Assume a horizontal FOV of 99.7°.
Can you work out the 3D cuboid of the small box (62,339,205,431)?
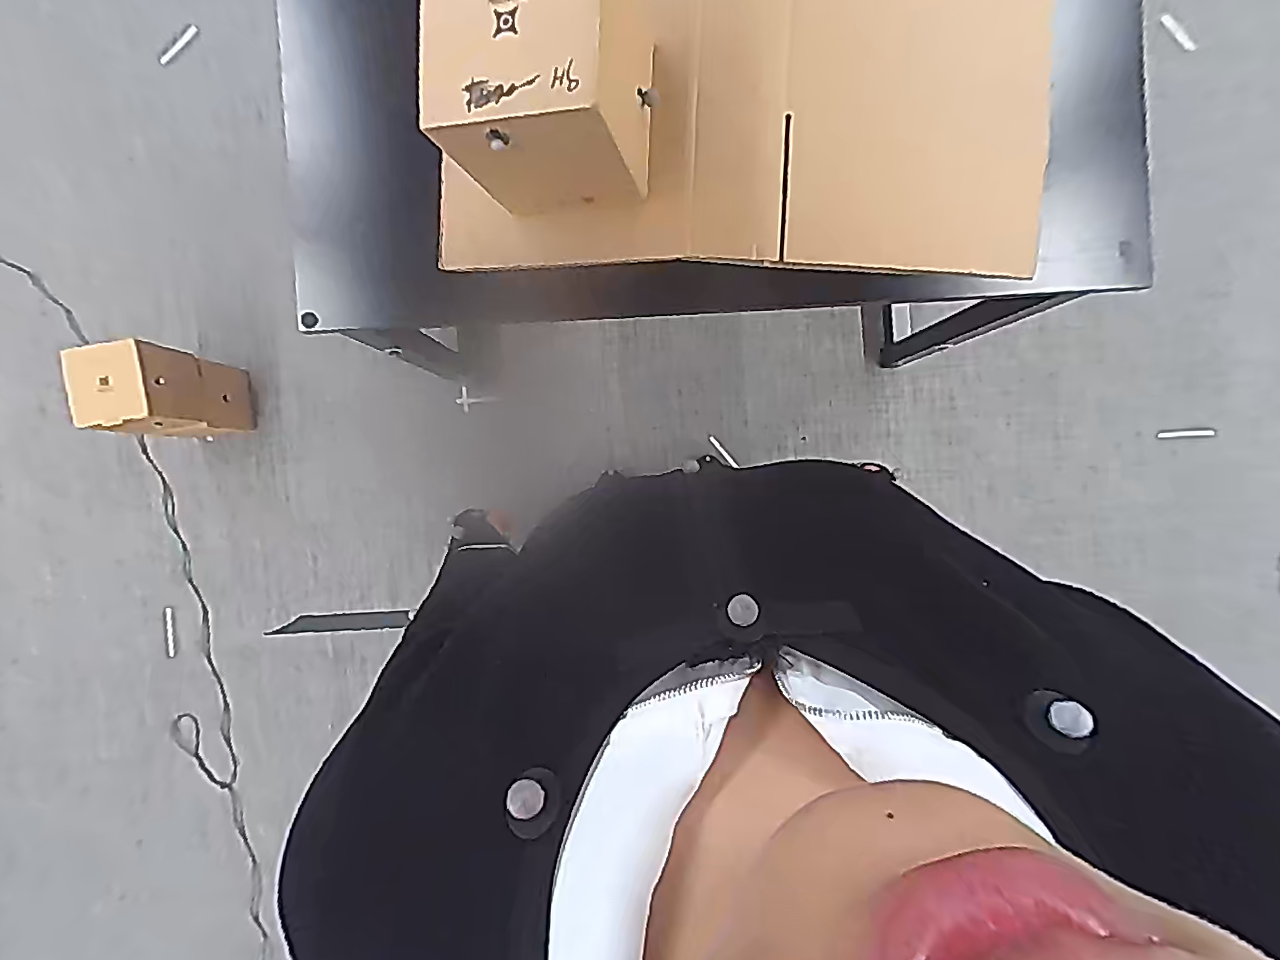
[{"bbox_3d":[-1.155,-0.210,1.248,0.168,0.176,0.179,-10,91,-1],"label":"small box"}]

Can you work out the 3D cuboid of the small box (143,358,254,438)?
[{"bbox_3d":[-1.153,-0.208,1.411,0.168,0.176,0.179,-7,92,0],"label":"small box"}]

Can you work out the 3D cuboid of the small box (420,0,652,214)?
[{"bbox_3d":[-0.087,-0.387,0.524,0.168,0.176,0.179,3,91,15],"label":"small box"}]
